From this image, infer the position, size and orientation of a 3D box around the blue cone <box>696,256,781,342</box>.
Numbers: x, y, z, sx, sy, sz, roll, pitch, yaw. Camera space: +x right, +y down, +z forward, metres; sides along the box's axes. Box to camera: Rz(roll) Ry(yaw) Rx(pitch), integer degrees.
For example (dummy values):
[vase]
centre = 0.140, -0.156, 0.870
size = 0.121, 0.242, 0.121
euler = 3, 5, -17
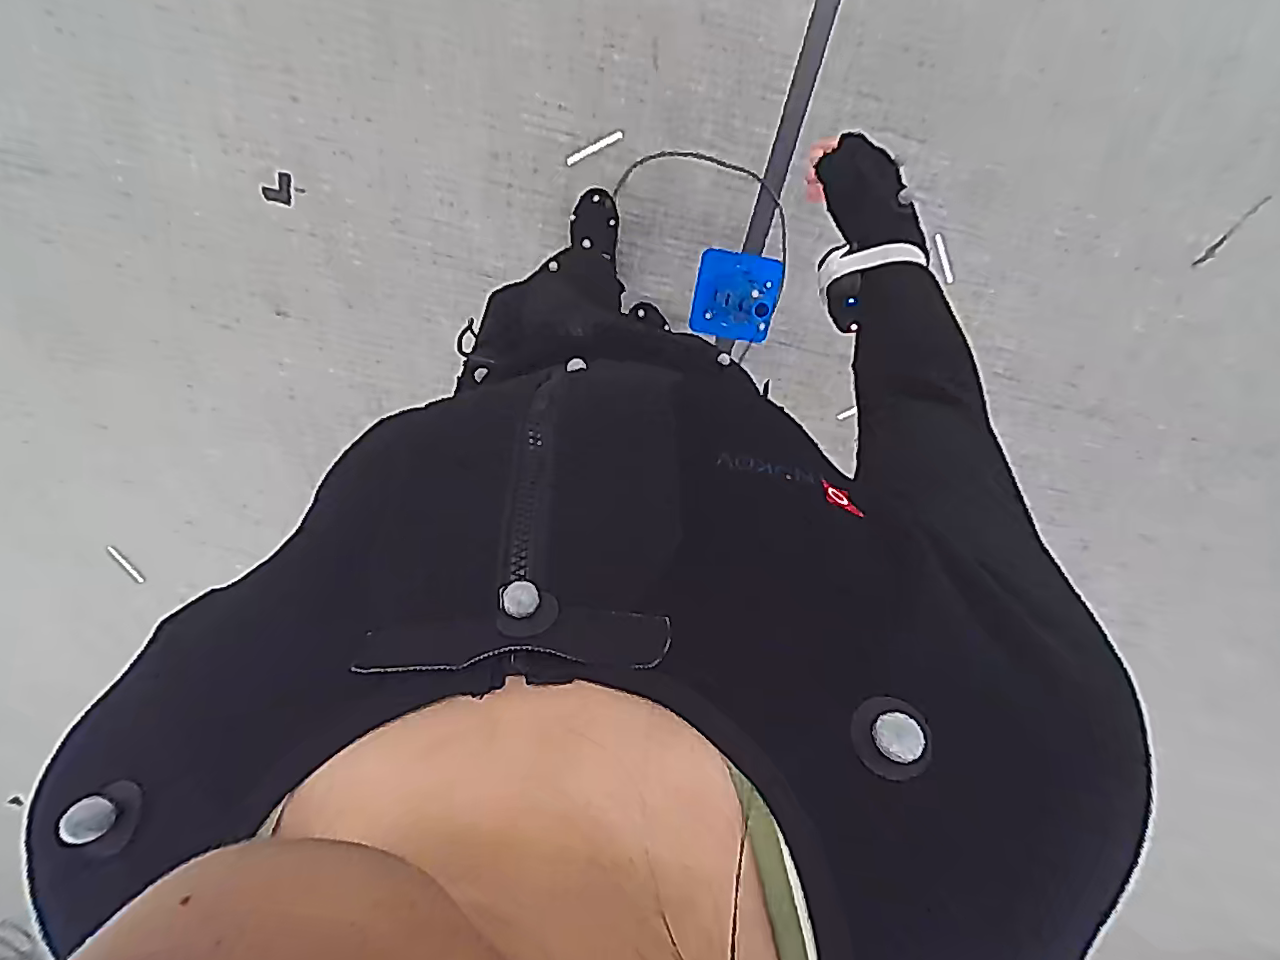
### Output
[blue cone]
centre = 0.234, -0.370, 1.159
size = 0.192, 0.380, 0.193
euler = 8, 113, -2
